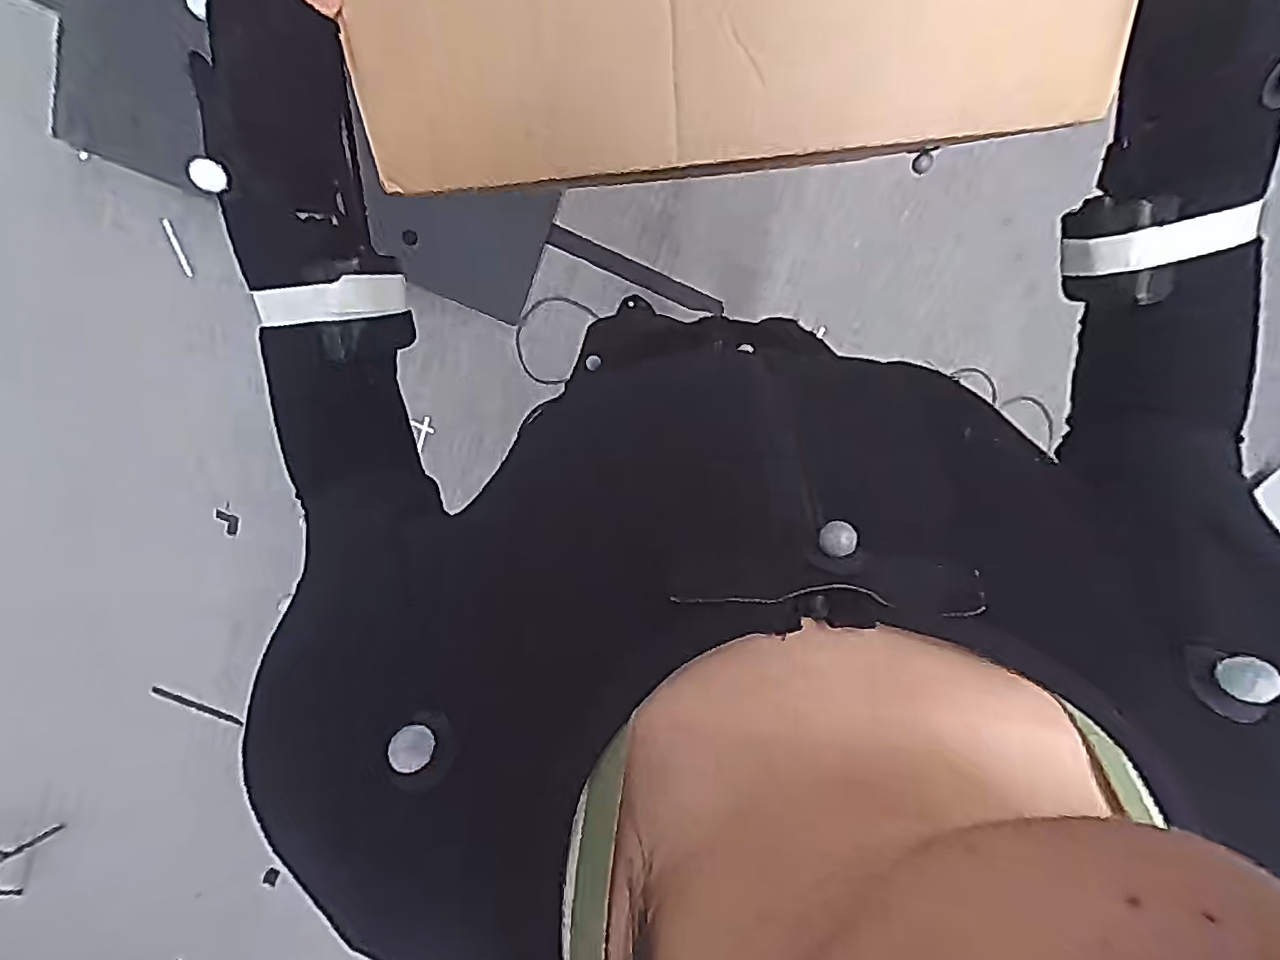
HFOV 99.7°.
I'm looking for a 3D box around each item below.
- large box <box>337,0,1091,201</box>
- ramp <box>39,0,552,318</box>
[{"bbox_3d":[0.030,-0.391,0.373,0.408,0.320,0.320,-6,118,0],"label":"large box"},{"bbox_3d":[-0.697,-0.783,1.188,0.991,0.206,0.509,21,107,-6],"label":"ramp"}]
